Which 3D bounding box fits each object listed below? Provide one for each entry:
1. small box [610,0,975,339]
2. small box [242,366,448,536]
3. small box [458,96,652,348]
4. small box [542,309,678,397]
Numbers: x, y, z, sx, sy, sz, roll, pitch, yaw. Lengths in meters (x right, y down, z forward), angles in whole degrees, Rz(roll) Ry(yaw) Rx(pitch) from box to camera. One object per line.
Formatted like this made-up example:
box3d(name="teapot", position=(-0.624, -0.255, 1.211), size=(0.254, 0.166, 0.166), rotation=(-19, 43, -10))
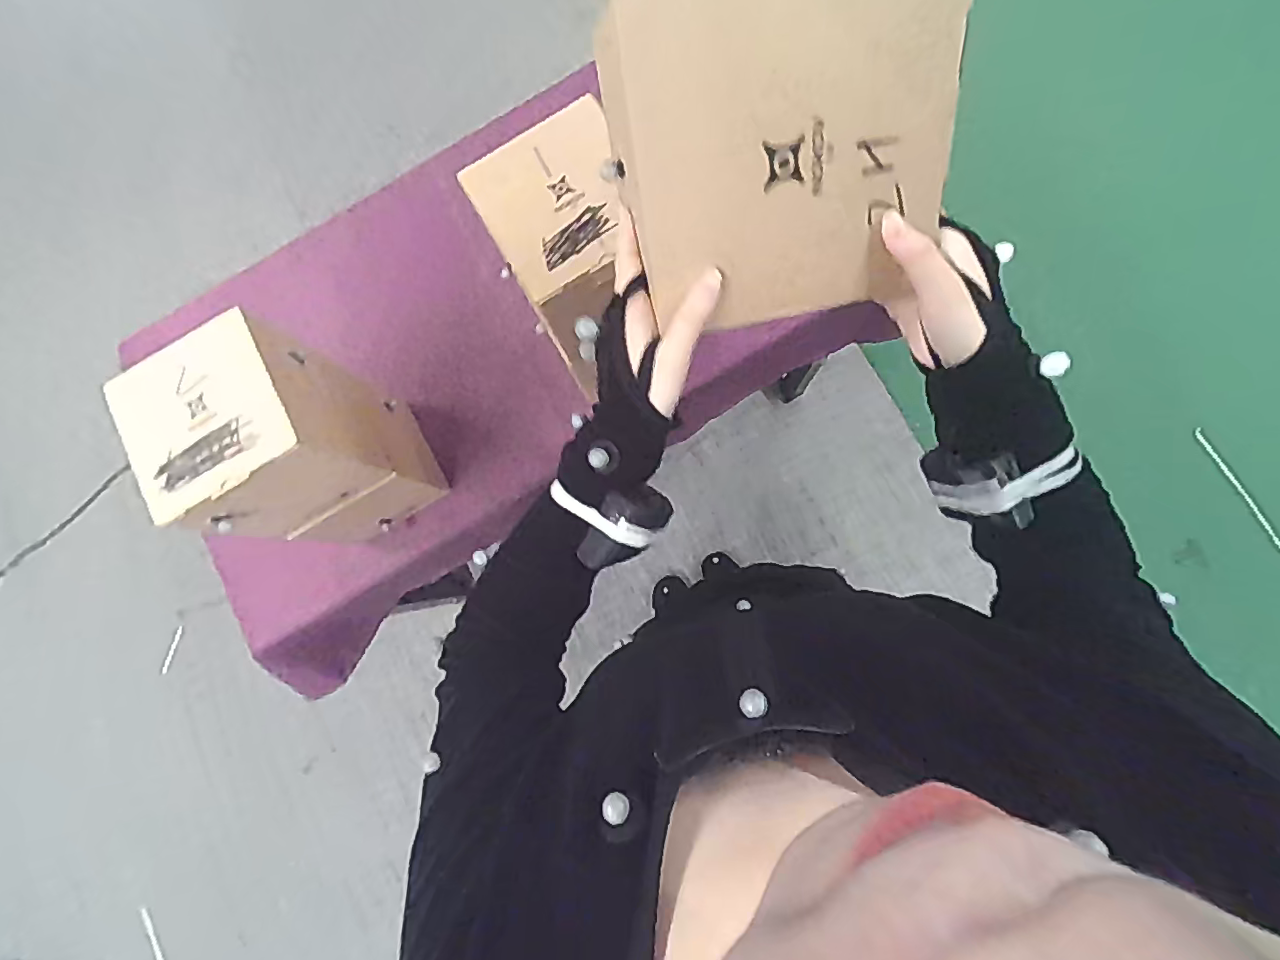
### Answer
box3d(name="small box", position=(0.078, -0.215, 0.362), size=(0.179, 0.168, 0.176), rotation=(-11, 37, 0))
box3d(name="small box", position=(-0.416, -0.030, 0.789), size=(0.168, 0.176, 0.179), rotation=(-30, 81, 0))
box3d(name="small box", position=(-0.071, -0.277, 0.628), size=(0.168, 0.176, 0.179), rotation=(-32, 80, 0))
box3d(name="small box", position=(-0.058, -0.250, 0.790), size=(0.168, 0.176, 0.179), rotation=(-31, 79, 1))
